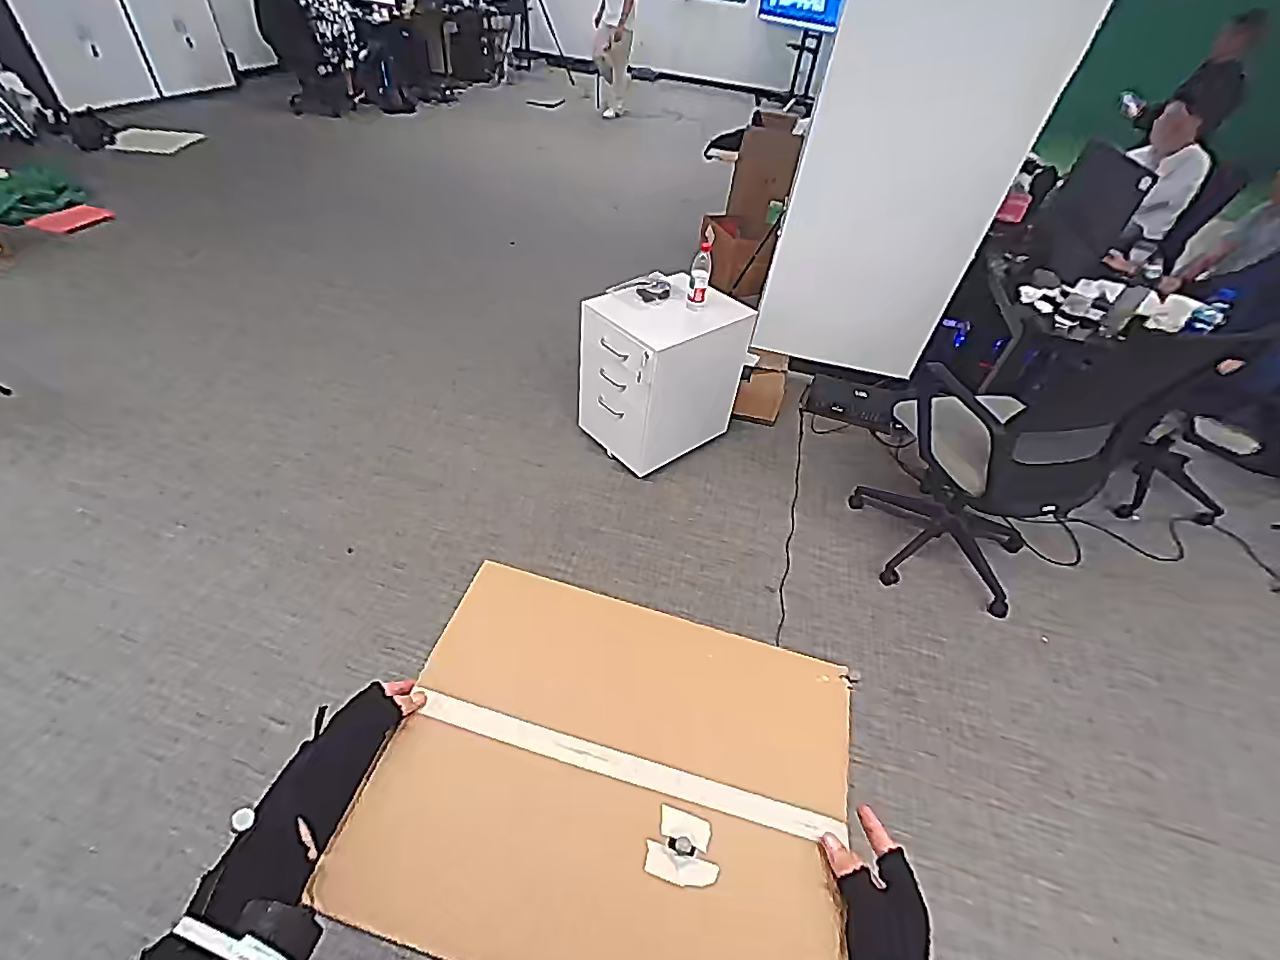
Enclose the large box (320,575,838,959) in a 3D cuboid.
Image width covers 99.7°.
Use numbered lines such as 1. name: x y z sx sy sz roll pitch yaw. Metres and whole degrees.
1. large box: -0.037 0.360 0.602 0.408 0.320 0.320 16 49 5
